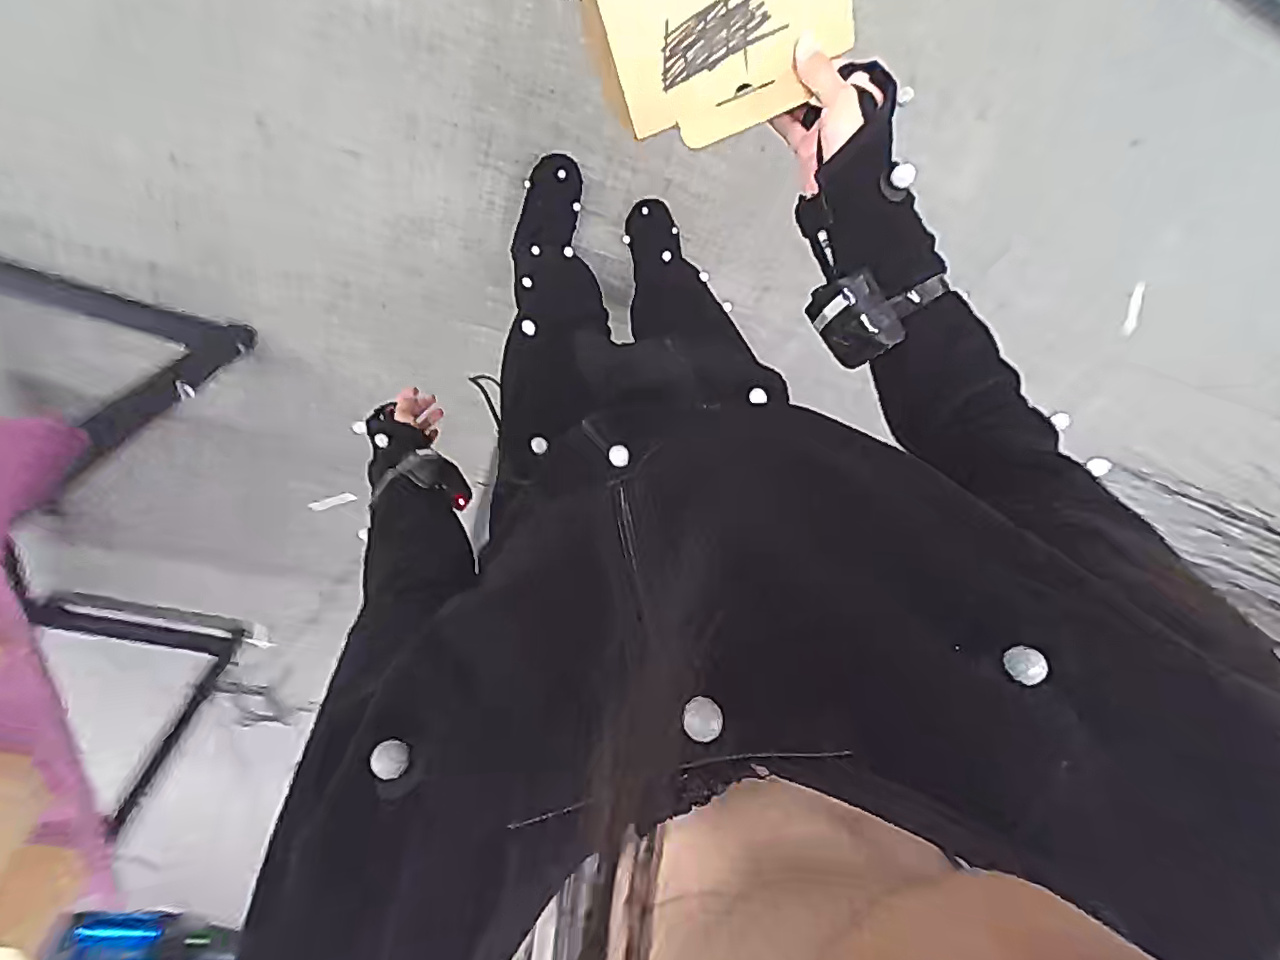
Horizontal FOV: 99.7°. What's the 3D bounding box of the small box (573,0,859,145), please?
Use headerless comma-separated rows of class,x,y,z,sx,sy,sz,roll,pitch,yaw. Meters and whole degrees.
small box,0.036,-0.376,0.385,0.168,0.176,0.179,-21,130,4

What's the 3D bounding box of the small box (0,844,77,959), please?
small box,-1.274,0.845,1.068,0.179,0.176,0.168,17,121,-15

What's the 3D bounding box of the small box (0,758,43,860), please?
small box,-1.132,0.553,0.867,0.168,0.176,0.179,17,123,-17
